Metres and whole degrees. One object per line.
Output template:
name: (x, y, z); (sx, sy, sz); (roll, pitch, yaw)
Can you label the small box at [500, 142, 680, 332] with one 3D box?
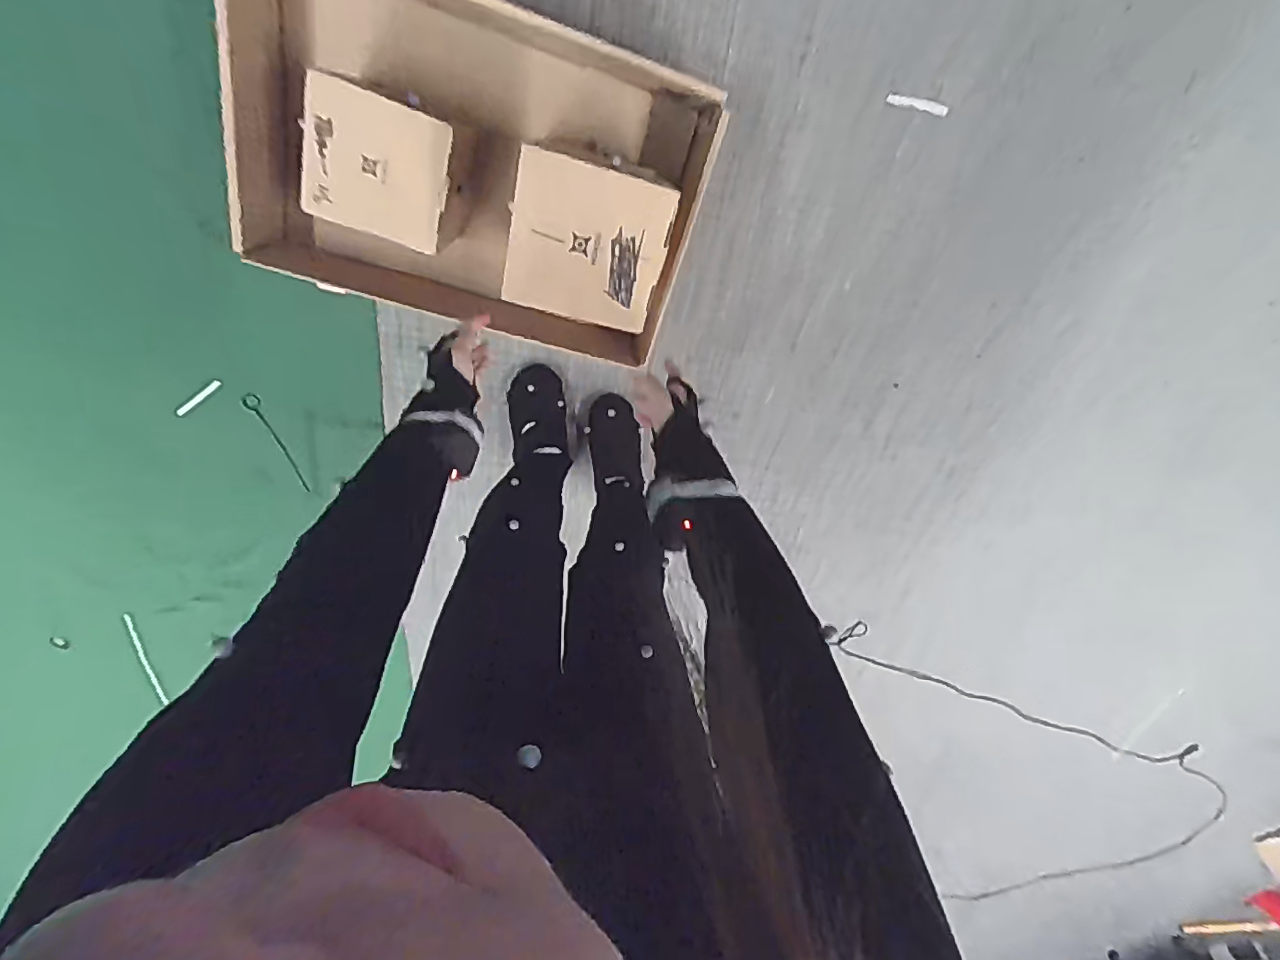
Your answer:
small box: (-0.065, -0.311, 0.681); (0.179, 0.176, 0.168); (12, 121, -12)
